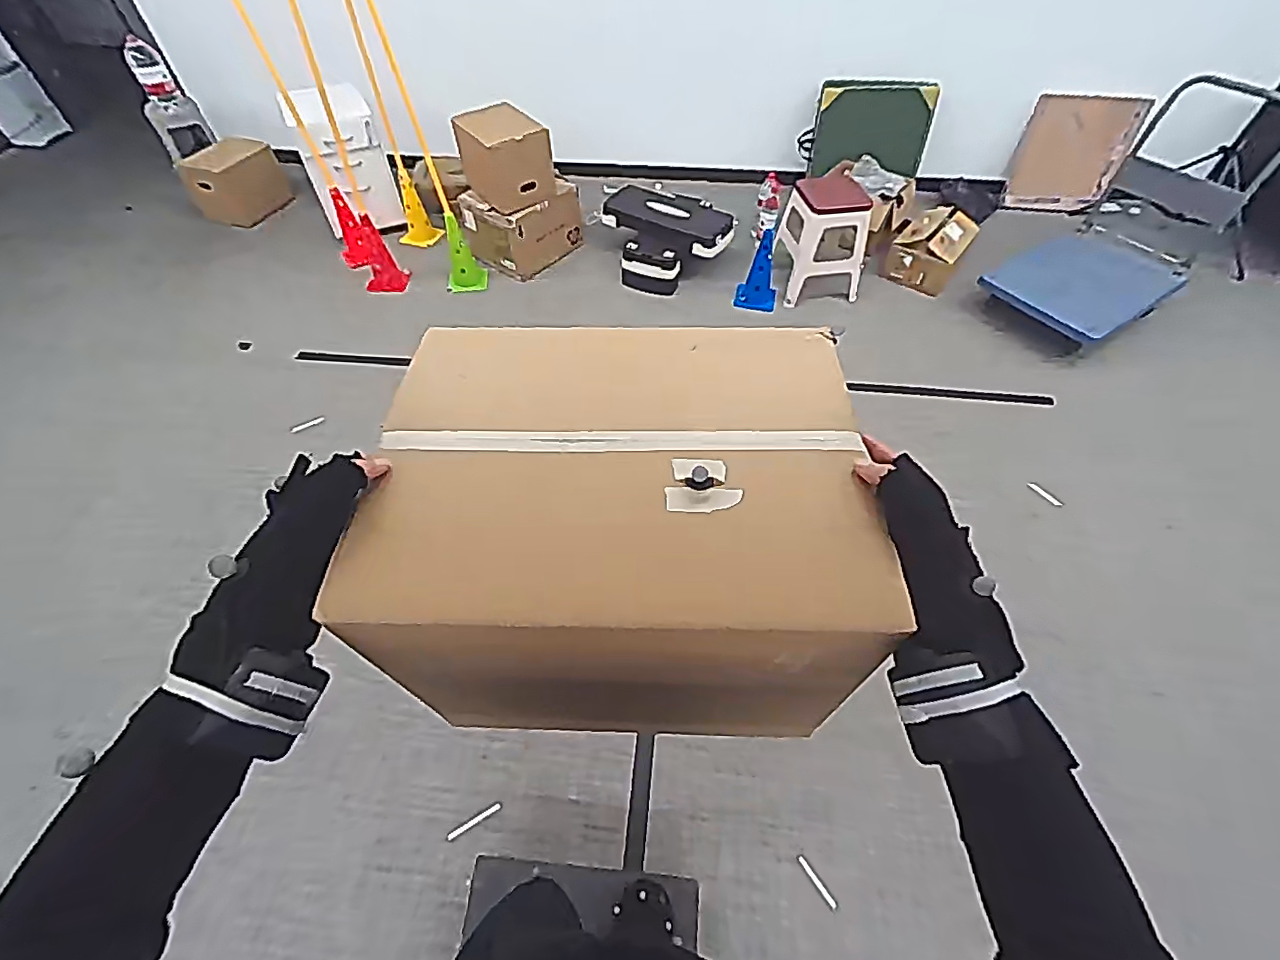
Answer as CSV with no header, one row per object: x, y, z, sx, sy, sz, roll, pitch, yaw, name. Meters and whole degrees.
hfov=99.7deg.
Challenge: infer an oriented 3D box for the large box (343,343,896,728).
-0.013,0.069,0.589,0.408,0.320,0.320,1,53,2,large box
